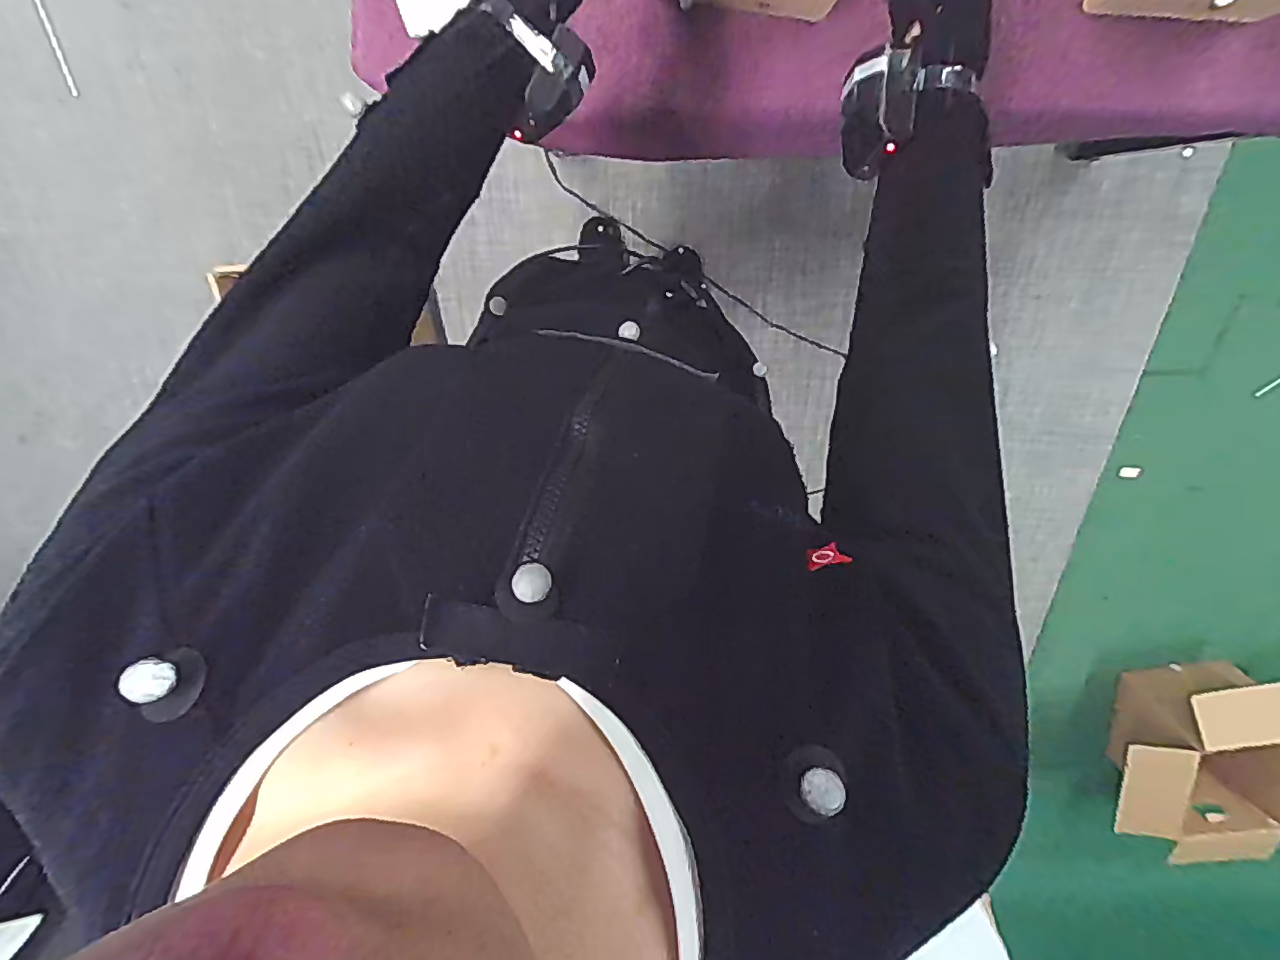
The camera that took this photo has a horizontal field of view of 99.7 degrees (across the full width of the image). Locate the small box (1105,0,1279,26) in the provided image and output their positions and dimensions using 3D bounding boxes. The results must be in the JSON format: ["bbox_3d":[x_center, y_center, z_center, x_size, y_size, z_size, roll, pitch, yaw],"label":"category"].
[{"bbox_3d":[0.502,-0.472,0.404,0.168,0.176,0.179,5,117,1],"label":"small box"}]
